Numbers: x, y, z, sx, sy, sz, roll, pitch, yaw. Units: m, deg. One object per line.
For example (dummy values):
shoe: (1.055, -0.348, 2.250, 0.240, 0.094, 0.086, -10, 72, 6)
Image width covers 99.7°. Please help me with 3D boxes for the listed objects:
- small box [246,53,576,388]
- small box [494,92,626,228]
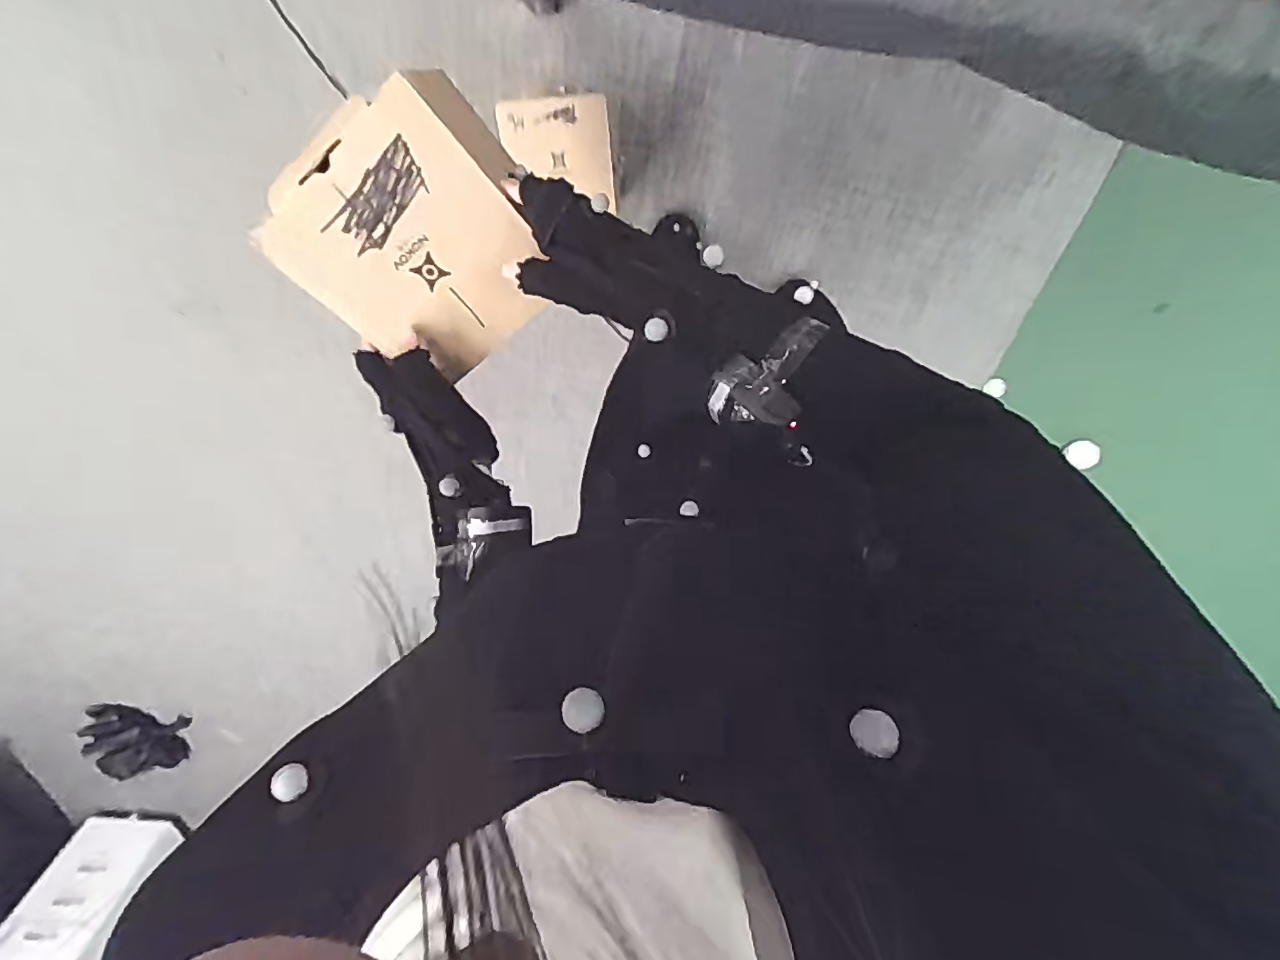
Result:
small box: (-0.177, -0.221, 0.468, 0.168, 0.176, 0.179, -34, 126, 16)
small box: (-0.119, -0.528, 0.896, 0.168, 0.176, 0.179, -4, 124, 7)
